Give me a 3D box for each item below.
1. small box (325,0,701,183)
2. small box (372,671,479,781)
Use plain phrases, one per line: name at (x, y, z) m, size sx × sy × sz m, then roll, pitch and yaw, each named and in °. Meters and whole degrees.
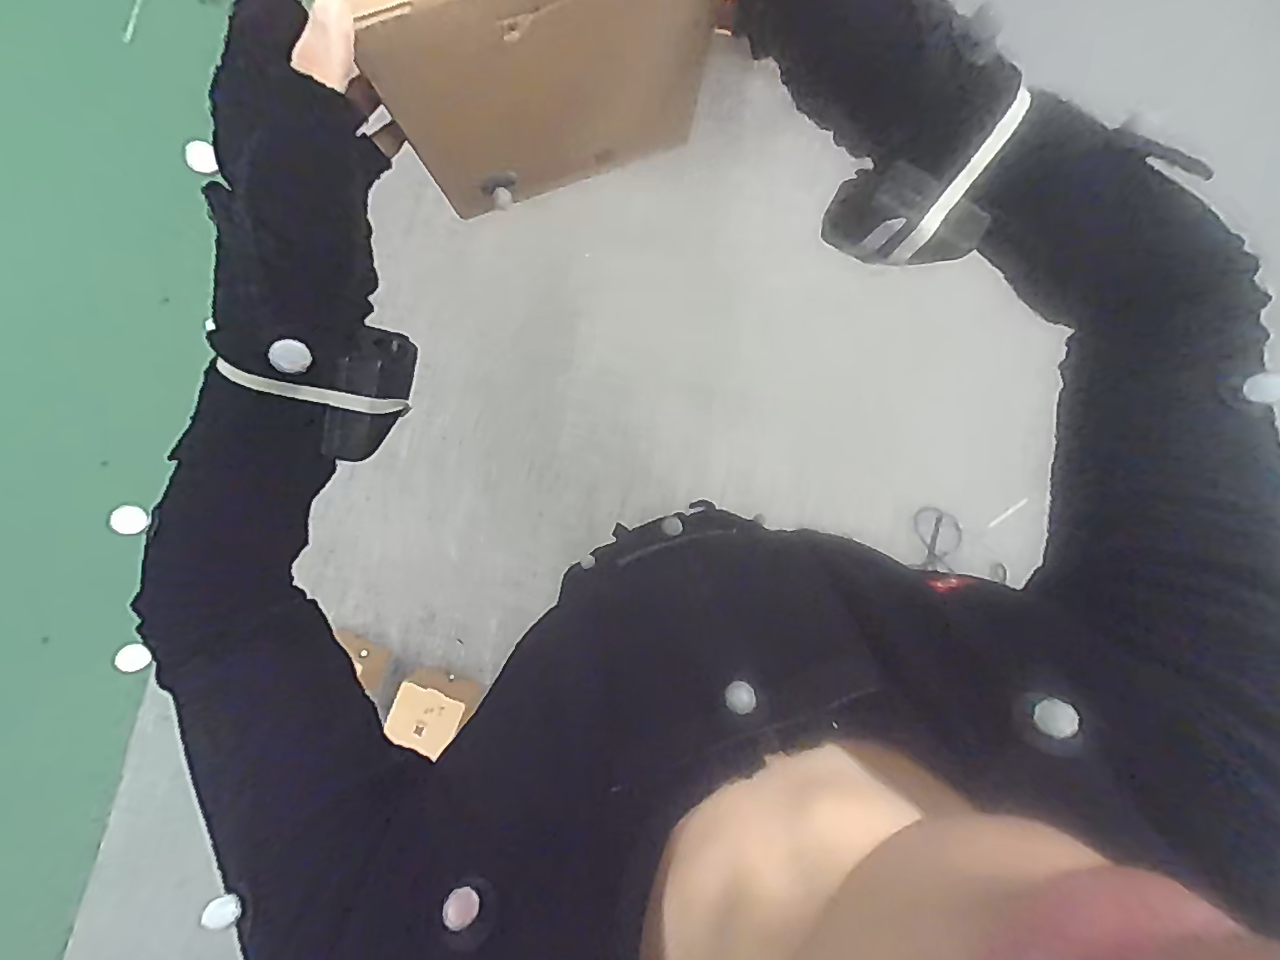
small box at (-0.068, -0.285, 0.277) m, size 0.168 × 0.176 × 0.179 m, roll -19°, pitch 92°, yaw -2°
small box at (-0.523, 0.602, 1.347) m, size 0.168 × 0.176 × 0.179 m, roll 21°, pitch 82°, yaw 2°
